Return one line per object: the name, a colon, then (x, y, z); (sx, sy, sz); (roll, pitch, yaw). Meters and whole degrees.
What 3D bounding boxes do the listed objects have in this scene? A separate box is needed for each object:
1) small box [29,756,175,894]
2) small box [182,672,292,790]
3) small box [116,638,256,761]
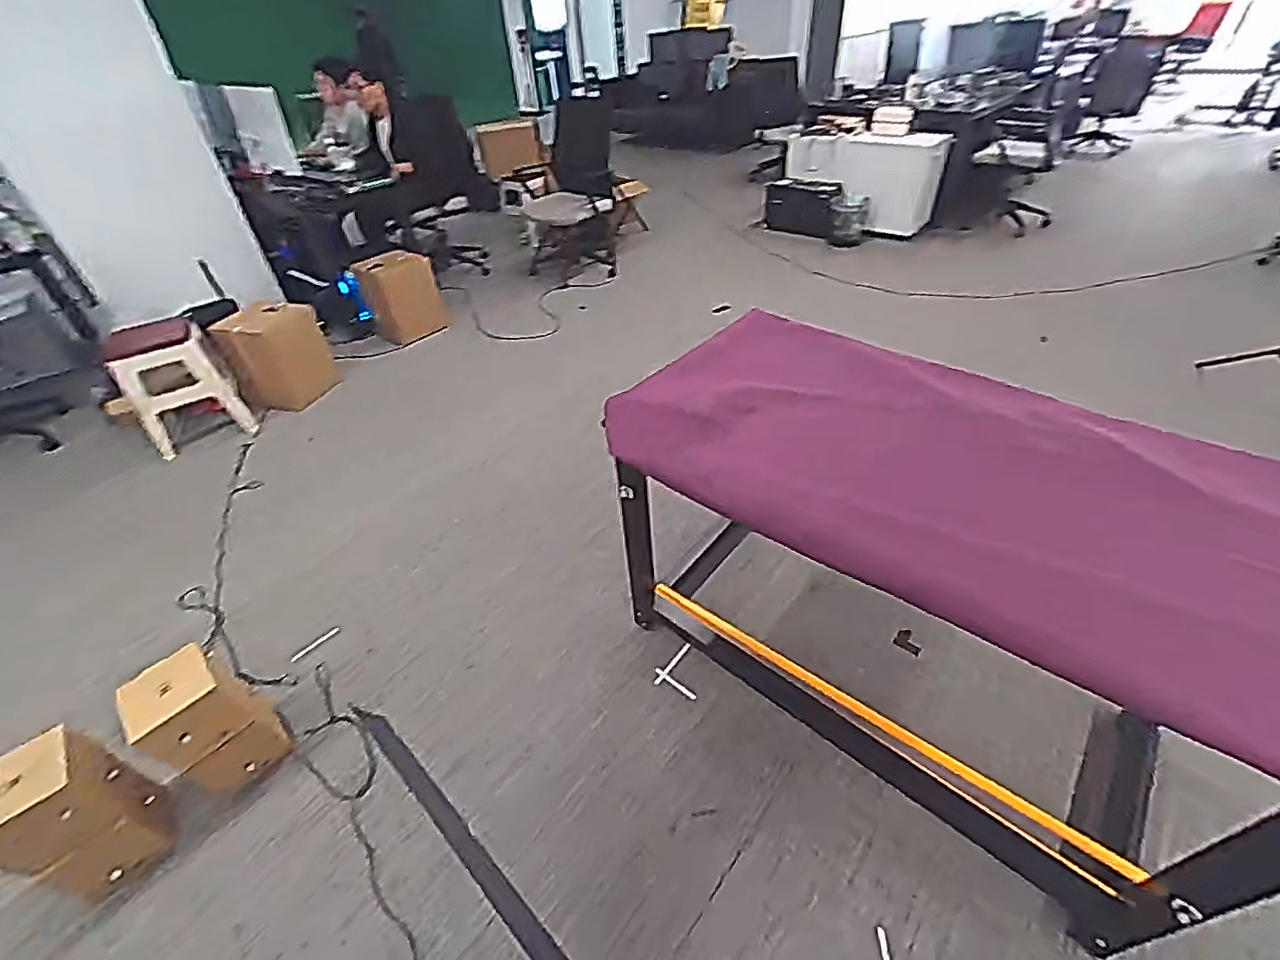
small box: (-1.185, 0.765, 1.198); (0.168, 0.176, 0.179); (-32, 49, -27)
small box: (-1.011, 0.624, 1.341); (0.179, 0.176, 0.168); (30, 54, 33)
small box: (-1.024, 0.505, 1.231); (0.179, 0.176, 0.168); (29, 53, 33)
